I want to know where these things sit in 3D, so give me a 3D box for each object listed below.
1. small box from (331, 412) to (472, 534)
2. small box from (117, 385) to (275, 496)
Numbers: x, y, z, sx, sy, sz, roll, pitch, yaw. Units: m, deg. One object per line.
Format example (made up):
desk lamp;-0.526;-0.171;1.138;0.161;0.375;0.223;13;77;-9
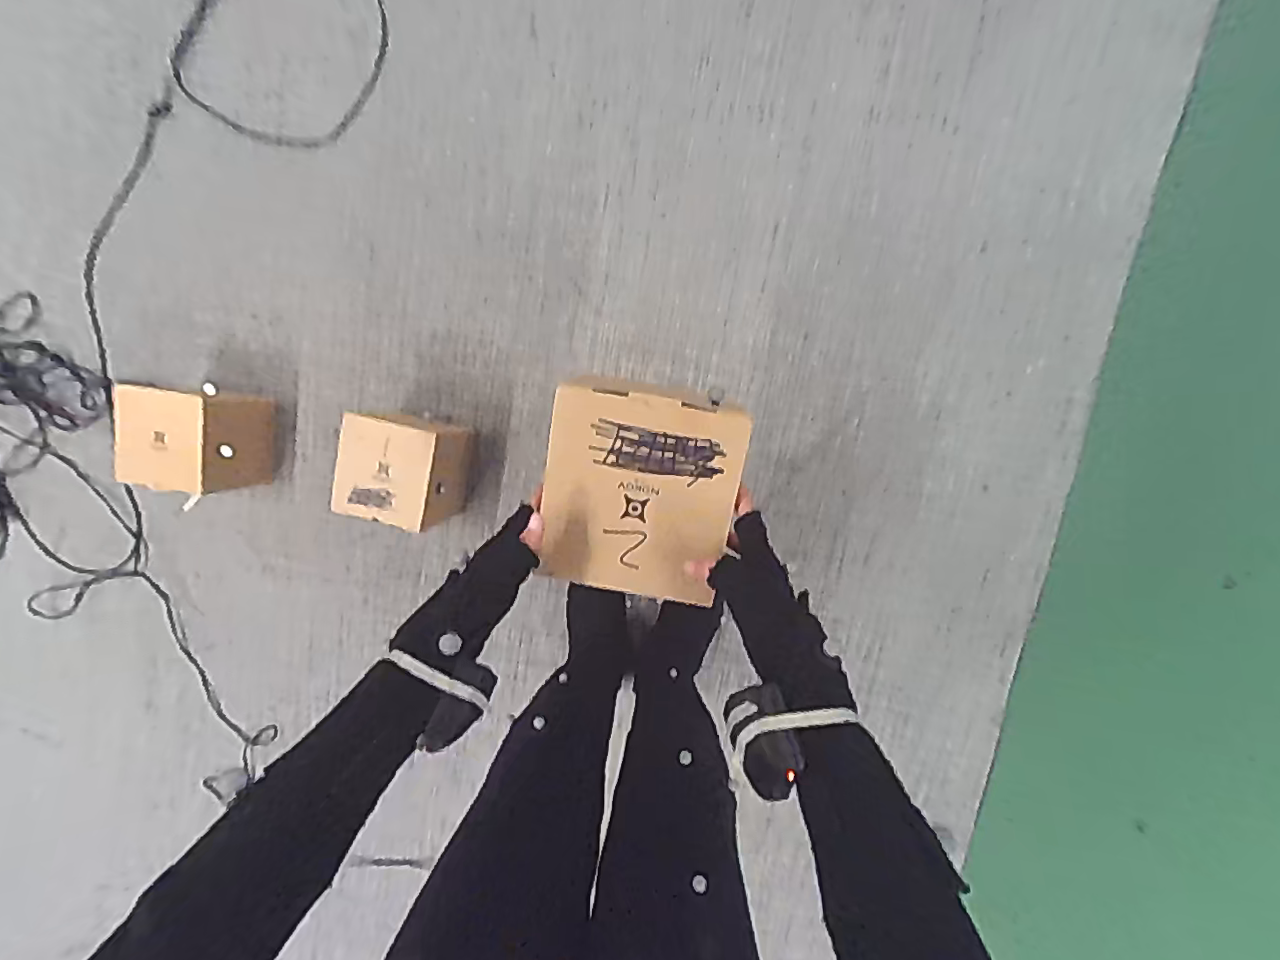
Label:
small box;-0.427;-0.021;0.991;0.168;0.176;0.179;14;99;3
small box;-0.825;-0.079;1.021;0.168;0.176;0.179;9;99;4
